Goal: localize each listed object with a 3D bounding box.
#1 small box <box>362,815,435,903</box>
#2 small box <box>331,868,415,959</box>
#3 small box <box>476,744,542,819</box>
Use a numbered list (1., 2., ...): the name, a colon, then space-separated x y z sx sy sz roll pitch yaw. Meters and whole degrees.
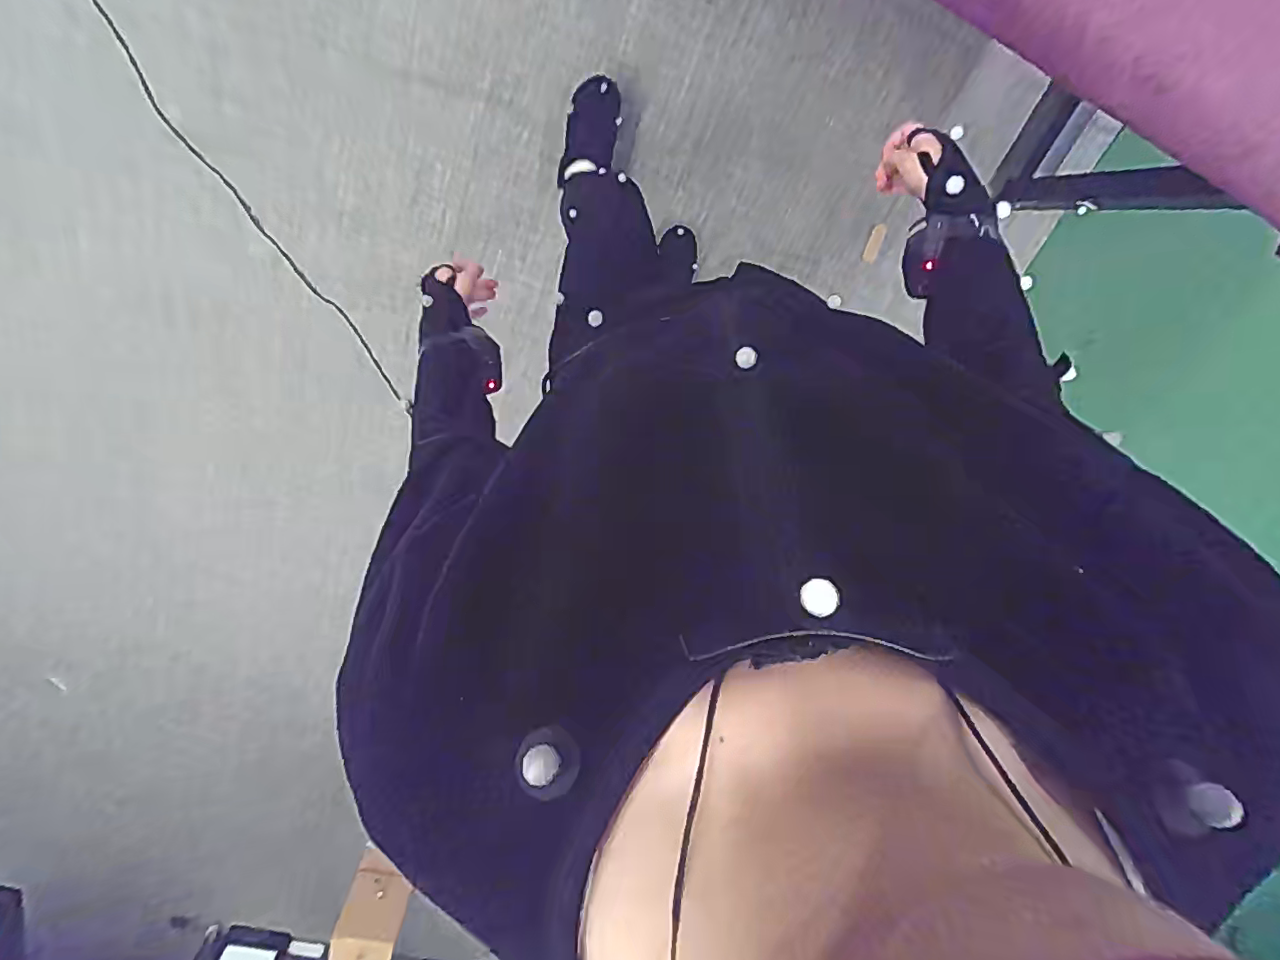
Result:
1. small box: -0.779 1.214 1.735 0.179 0.176 0.168 18 115 -10
2. small box: -0.778 1.288 1.588 0.168 0.176 0.179 17 116 -10
3. small box: -0.499 1.154 2.080 0.179 0.176 0.168 30 112 -16
